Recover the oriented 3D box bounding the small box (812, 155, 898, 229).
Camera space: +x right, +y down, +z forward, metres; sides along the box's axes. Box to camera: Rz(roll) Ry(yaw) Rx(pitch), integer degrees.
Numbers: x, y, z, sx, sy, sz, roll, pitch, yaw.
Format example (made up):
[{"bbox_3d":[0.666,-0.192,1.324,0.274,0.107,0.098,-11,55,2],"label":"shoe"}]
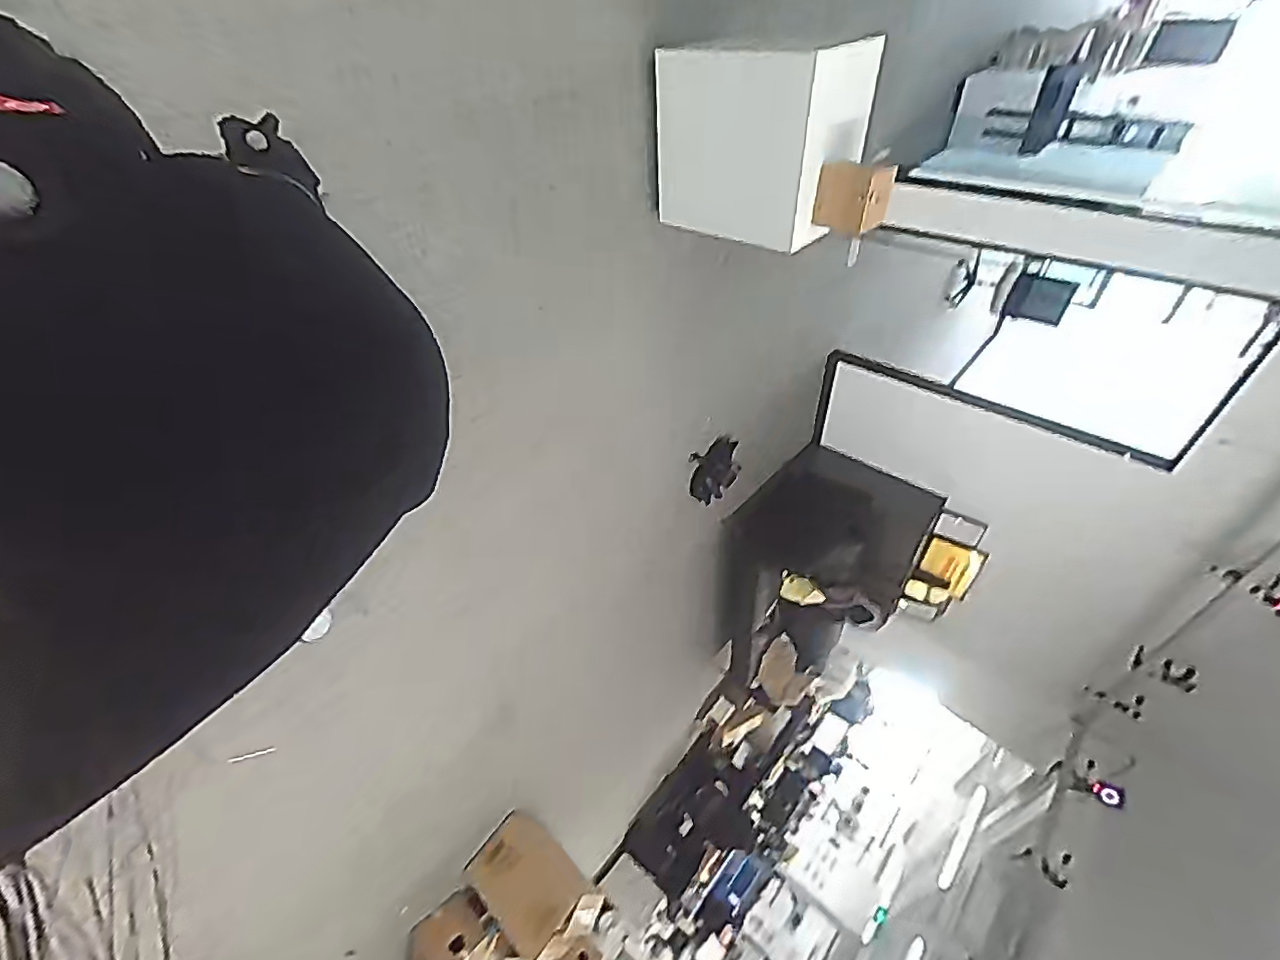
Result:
[{"bbox_3d":[0.663,-0.899,1.677,0.179,0.176,0.168,-36,141,-34],"label":"small box"}]
